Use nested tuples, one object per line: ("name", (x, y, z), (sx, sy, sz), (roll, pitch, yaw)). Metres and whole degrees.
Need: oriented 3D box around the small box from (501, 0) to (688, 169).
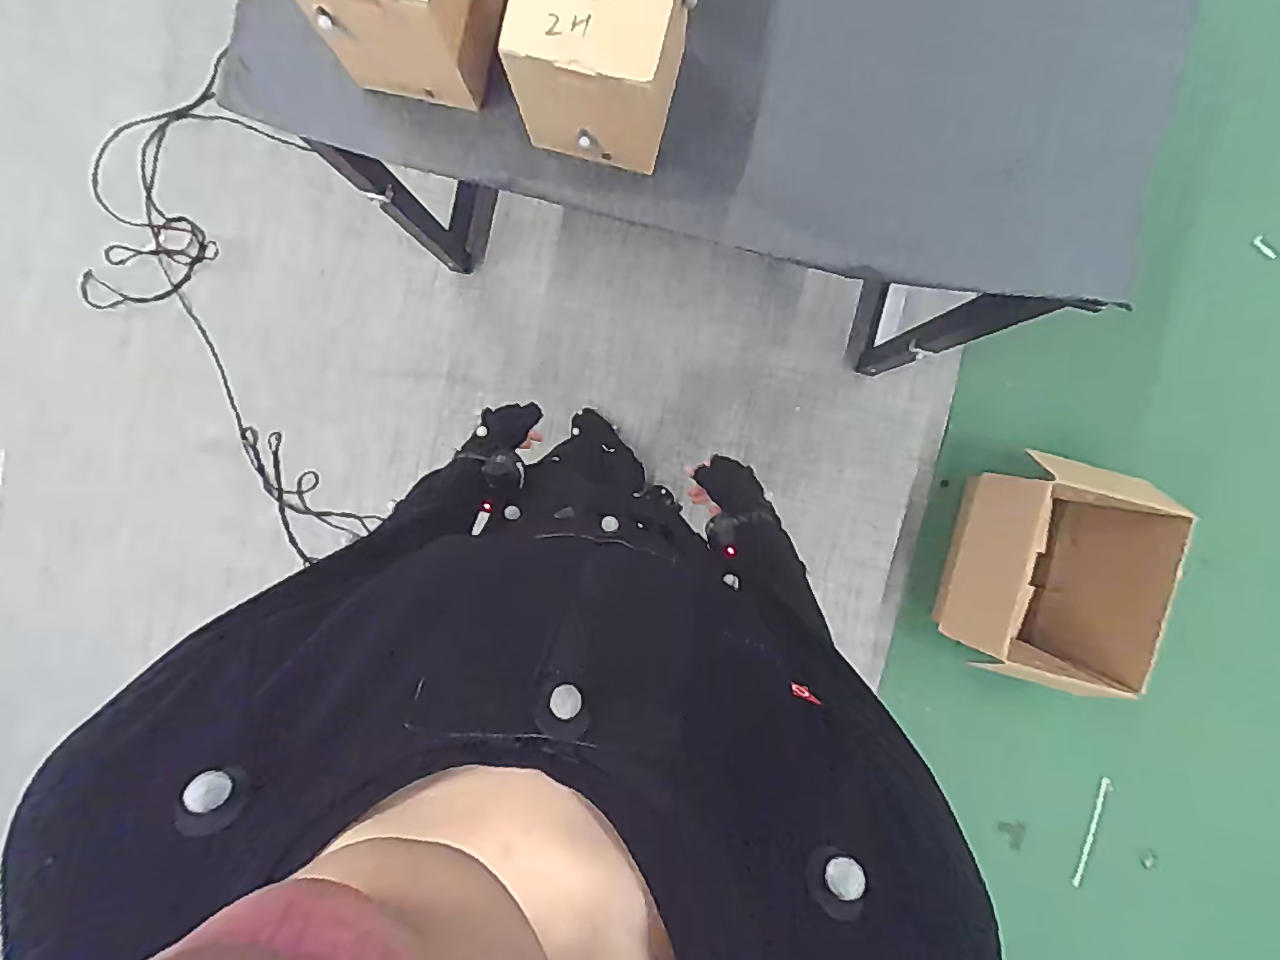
("small box", (-0.043, -0.507, 0.629), (0.168, 0.176, 0.179), (14, 92, 1))
